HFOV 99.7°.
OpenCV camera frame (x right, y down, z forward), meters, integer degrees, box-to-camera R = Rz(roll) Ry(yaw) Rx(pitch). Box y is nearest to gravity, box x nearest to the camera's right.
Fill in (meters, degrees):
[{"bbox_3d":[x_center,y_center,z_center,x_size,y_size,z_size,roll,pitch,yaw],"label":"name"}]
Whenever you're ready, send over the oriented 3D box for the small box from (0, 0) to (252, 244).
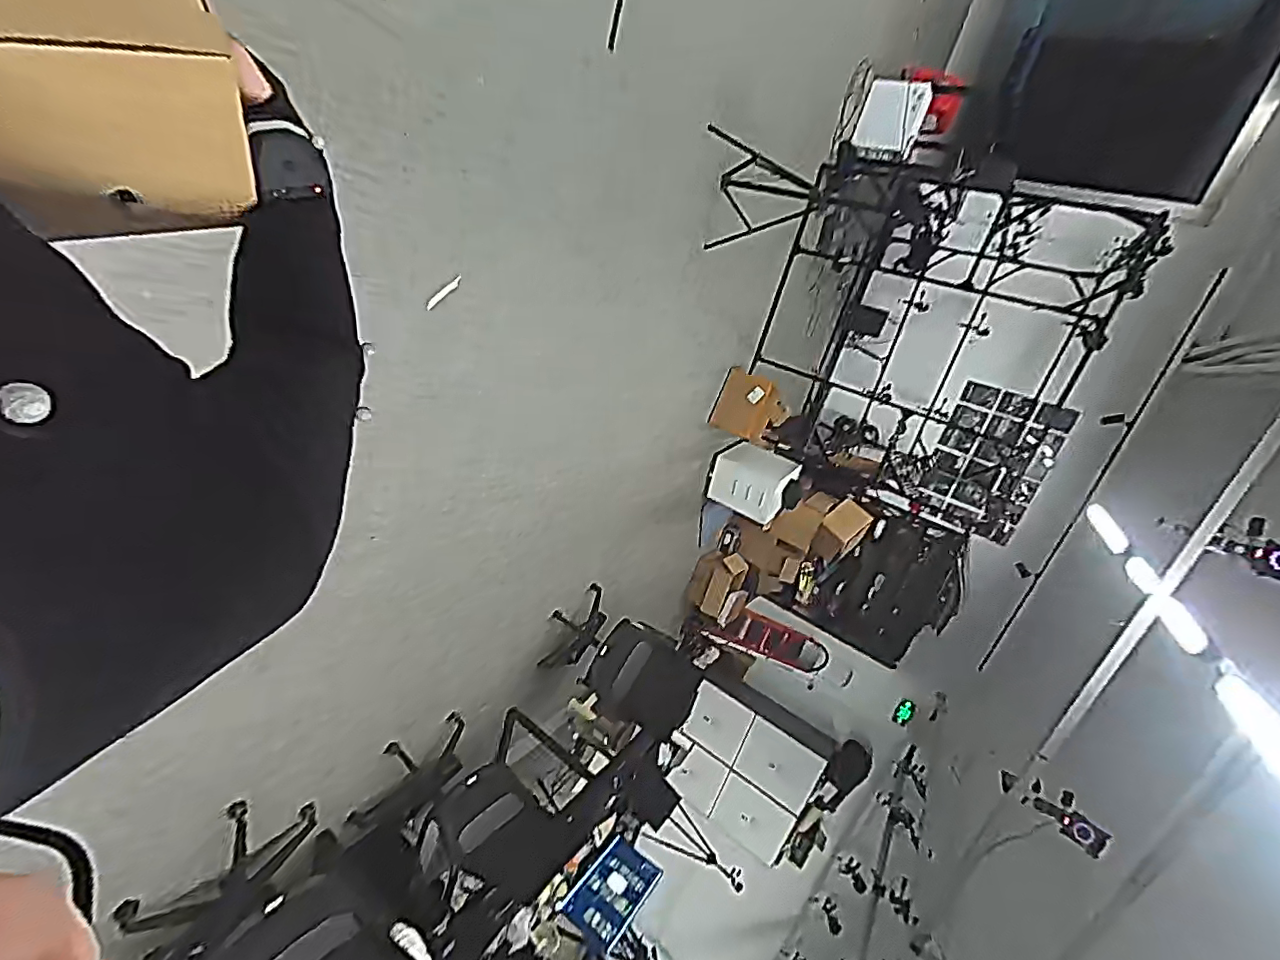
[{"bbox_3d":[-0.414,-0.301,0.397,0.179,0.168,0.176,-25,177,-33],"label":"small box"}]
